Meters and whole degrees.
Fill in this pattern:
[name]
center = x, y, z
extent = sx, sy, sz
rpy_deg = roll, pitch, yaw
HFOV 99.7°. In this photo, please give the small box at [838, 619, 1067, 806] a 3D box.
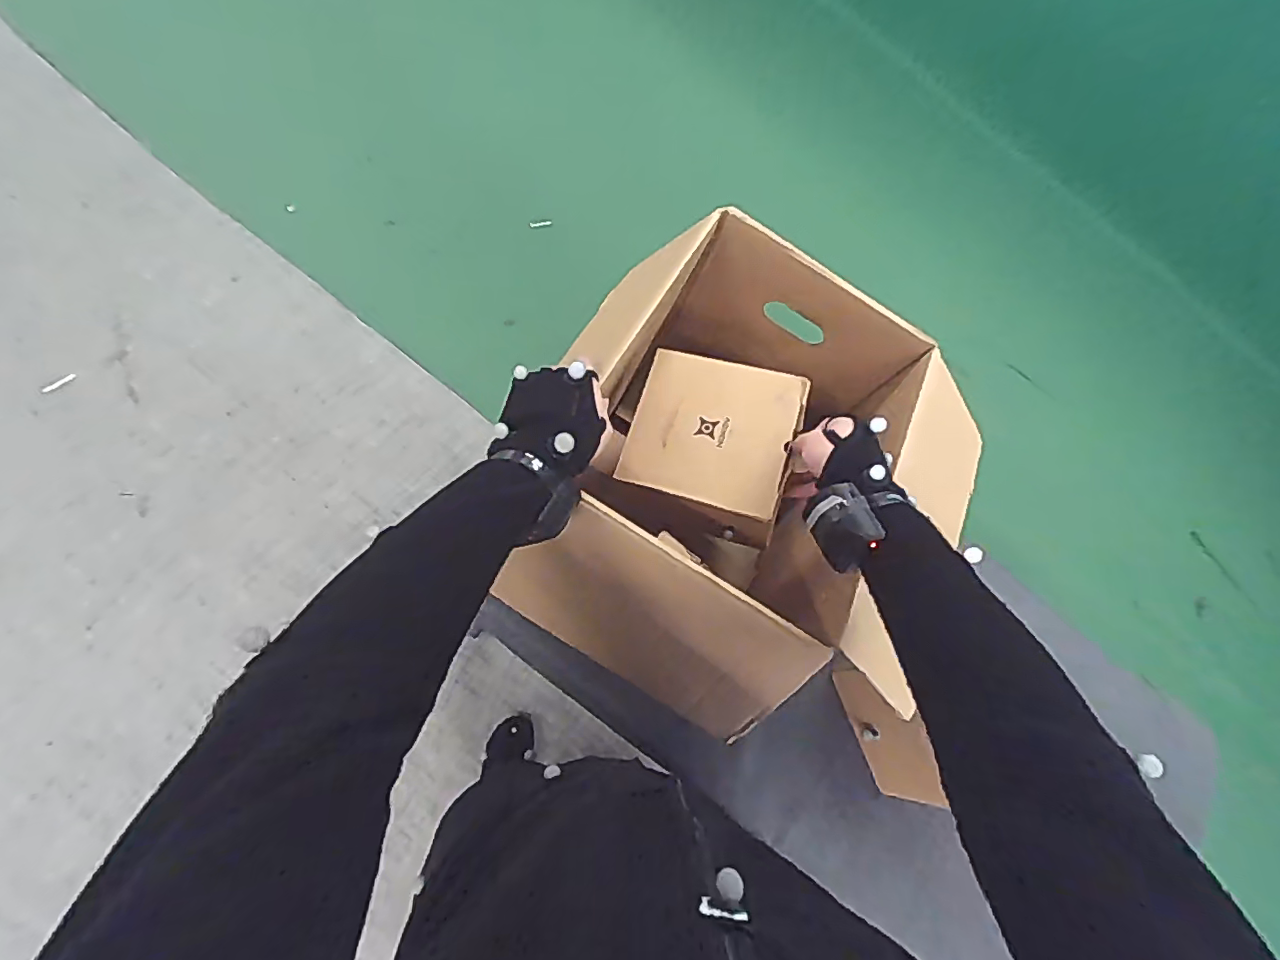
[small box]
center = 0.407, 0.302, 0.735
extent = 0.168, 0.176, 0.179
rpy_deg = -14, 75, -19
